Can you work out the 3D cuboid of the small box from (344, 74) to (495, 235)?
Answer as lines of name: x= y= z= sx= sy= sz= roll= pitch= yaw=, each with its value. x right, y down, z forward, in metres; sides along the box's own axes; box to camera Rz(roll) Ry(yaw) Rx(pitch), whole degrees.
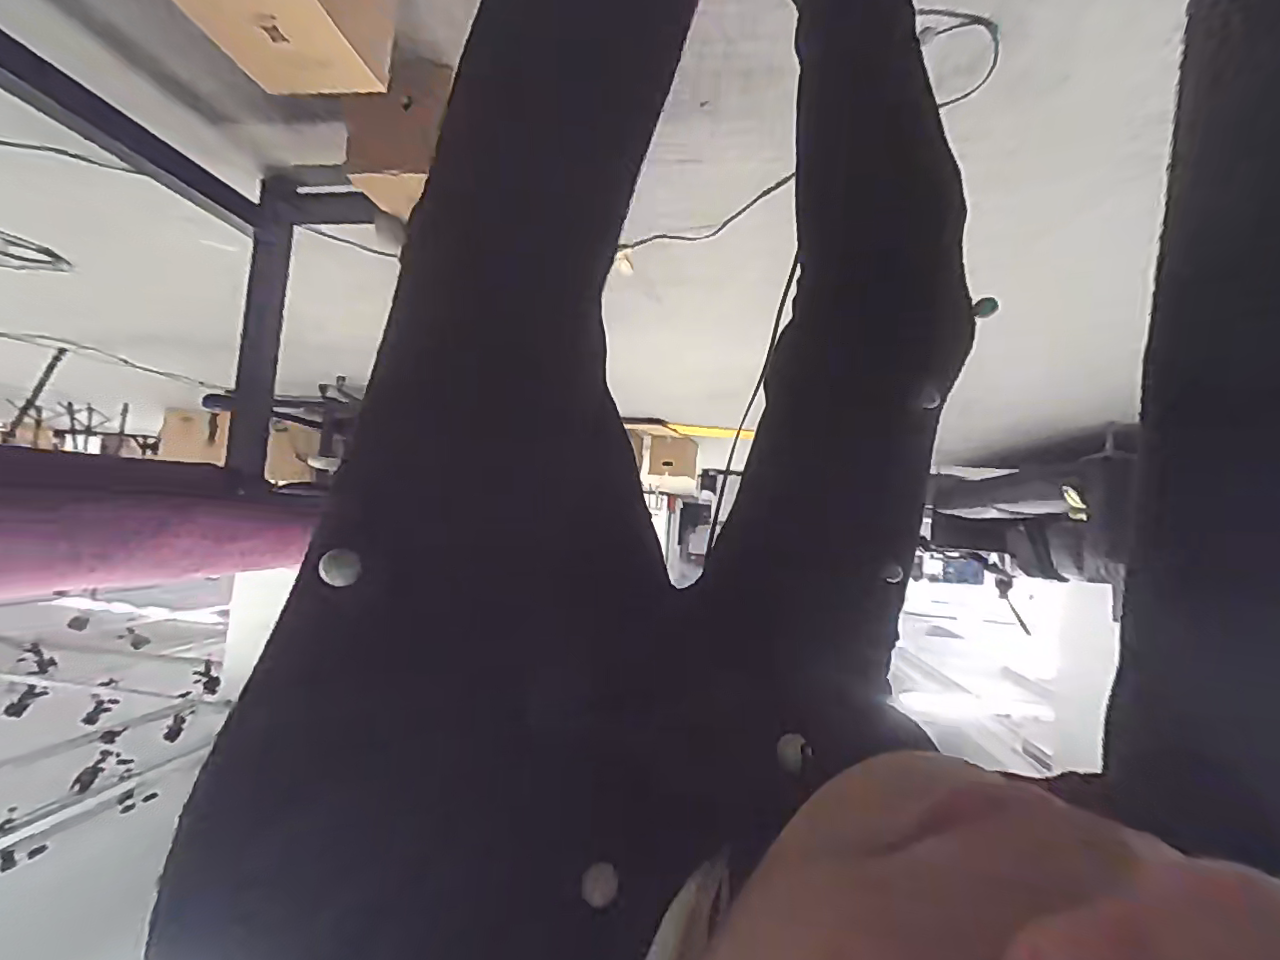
small box: x=-0.359 y=-0.538 z=0.913 sx=0.168 sy=0.176 sz=0.179 roll=4 pitch=175 yaw=9

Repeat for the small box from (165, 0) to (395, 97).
small box: x=-0.394 y=-0.565 z=0.590 sx=0.168 sy=0.176 sz=0.179 roll=5 pitch=177 yaw=8
